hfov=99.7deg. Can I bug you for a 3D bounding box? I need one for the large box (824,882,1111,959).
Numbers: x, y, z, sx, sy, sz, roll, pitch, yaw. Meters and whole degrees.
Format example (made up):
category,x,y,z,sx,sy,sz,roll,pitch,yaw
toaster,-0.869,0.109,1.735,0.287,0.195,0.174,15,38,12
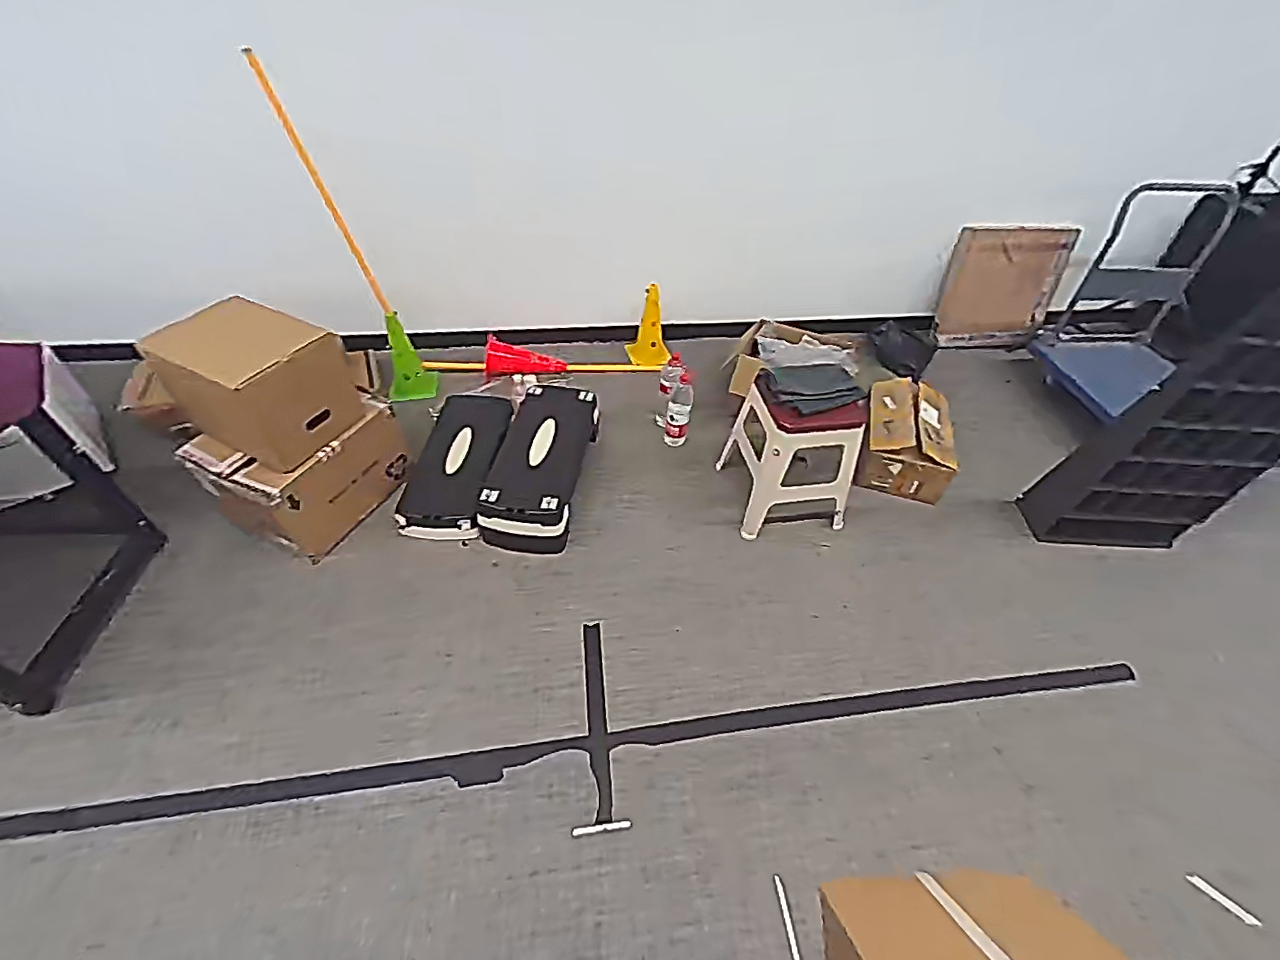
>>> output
category,x,y,z,sx,sy,sz,roll,pitch,yaw
large box,0.433,0.735,0.601,0.320,0.408,0.320,-1,83,-2
